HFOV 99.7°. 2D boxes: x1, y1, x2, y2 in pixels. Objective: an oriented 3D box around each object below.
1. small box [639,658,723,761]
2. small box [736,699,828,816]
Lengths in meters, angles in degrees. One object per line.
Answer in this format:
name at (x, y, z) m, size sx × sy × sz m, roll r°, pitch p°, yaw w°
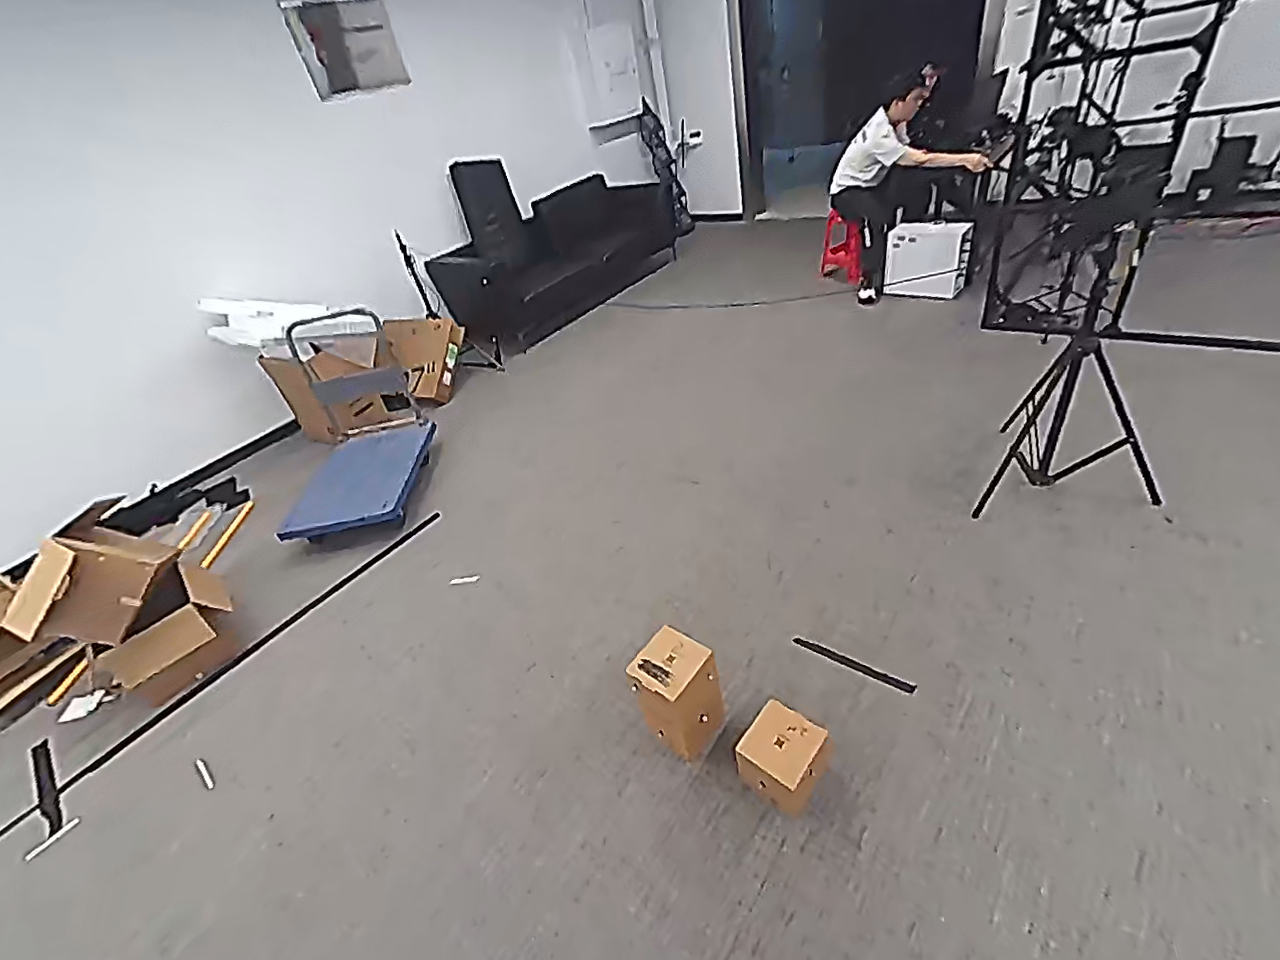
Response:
small box at (0.124, 0.657, 1.554) m, size 0.168 × 0.176 × 0.179 m, roll 20°, pitch 48°, yaw 38°
small box at (0.368, 0.715, 1.389) m, size 0.168 × 0.176 × 0.179 m, roll 22°, pitch 49°, yaw 38°
